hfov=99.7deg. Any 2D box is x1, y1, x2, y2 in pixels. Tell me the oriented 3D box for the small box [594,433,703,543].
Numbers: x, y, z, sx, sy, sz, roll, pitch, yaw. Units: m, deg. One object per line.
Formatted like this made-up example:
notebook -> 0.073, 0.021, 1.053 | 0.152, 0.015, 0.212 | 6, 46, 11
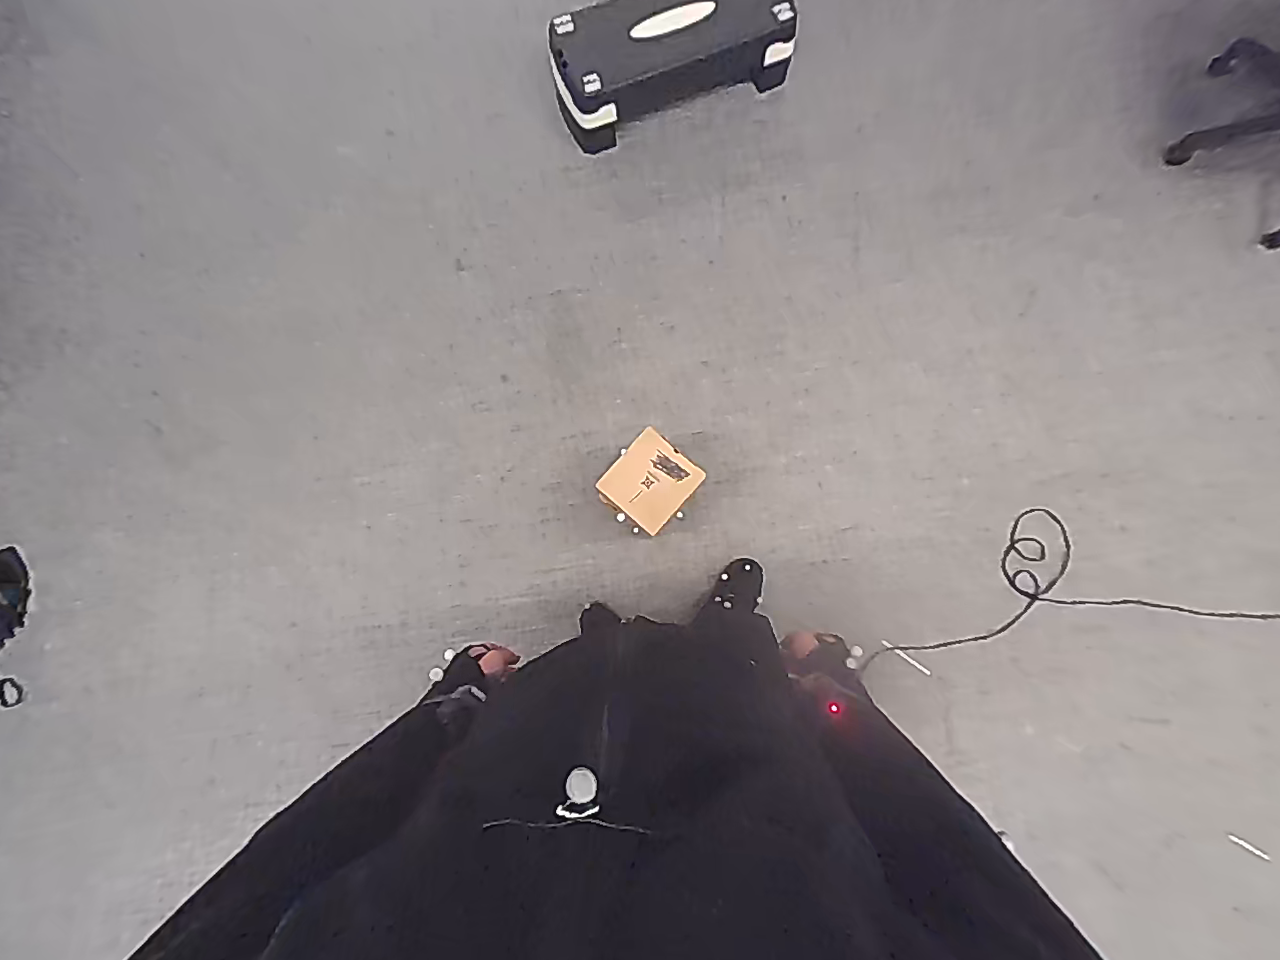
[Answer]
small box -> 0.017, 0.025, 1.216 | 0.168, 0.176, 0.179 | 41, 84, 7
